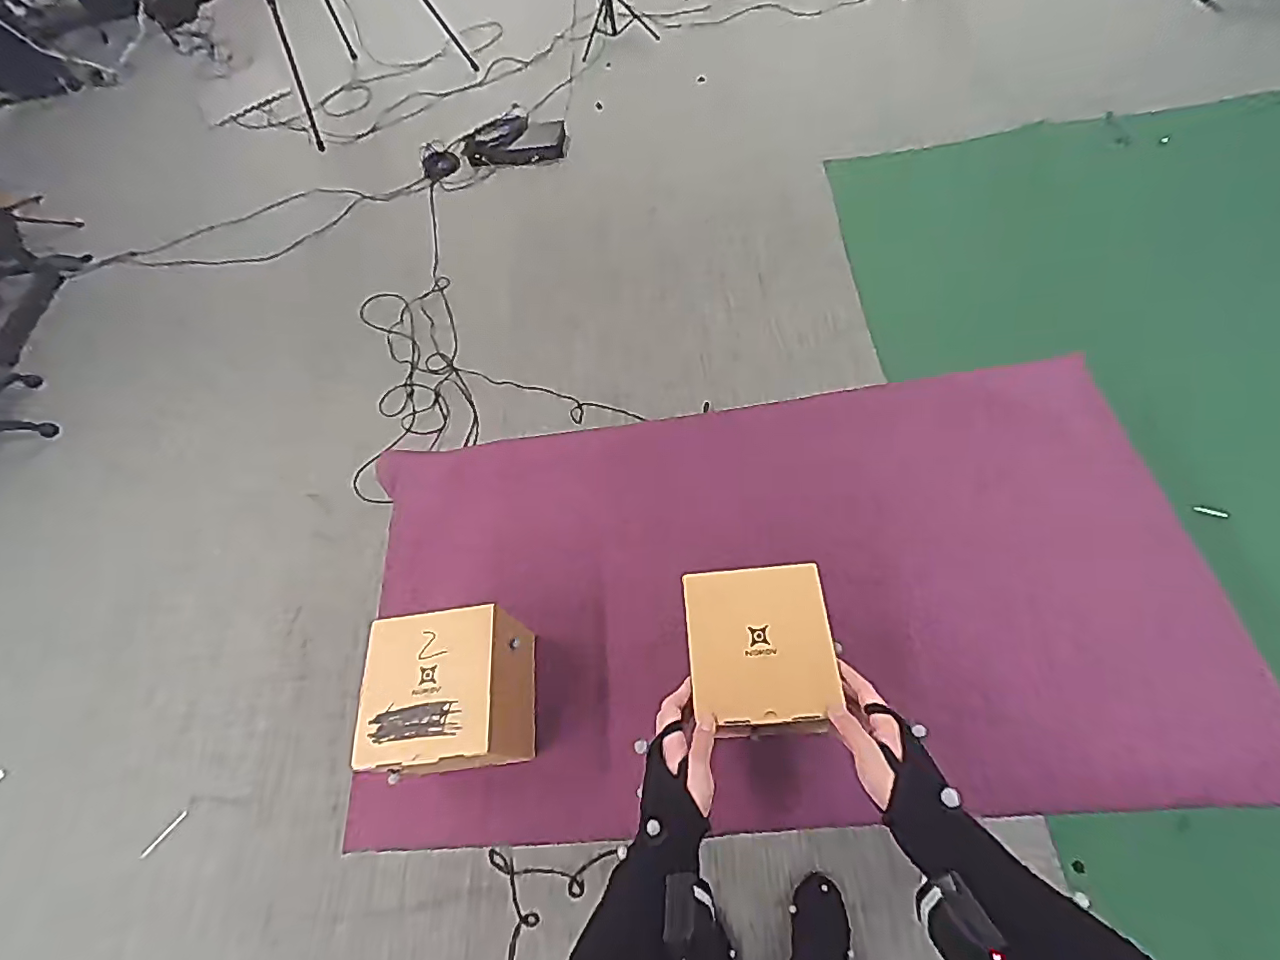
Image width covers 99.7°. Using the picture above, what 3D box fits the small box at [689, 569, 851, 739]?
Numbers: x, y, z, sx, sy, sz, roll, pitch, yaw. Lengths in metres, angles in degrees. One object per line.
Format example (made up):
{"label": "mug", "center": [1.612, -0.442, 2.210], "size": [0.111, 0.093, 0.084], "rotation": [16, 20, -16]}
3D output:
{"label": "small box", "center": [0.152, 0.228, 0.692], "size": [0.168, 0.176, 0.179], "rotation": [-6, 62, 5]}
